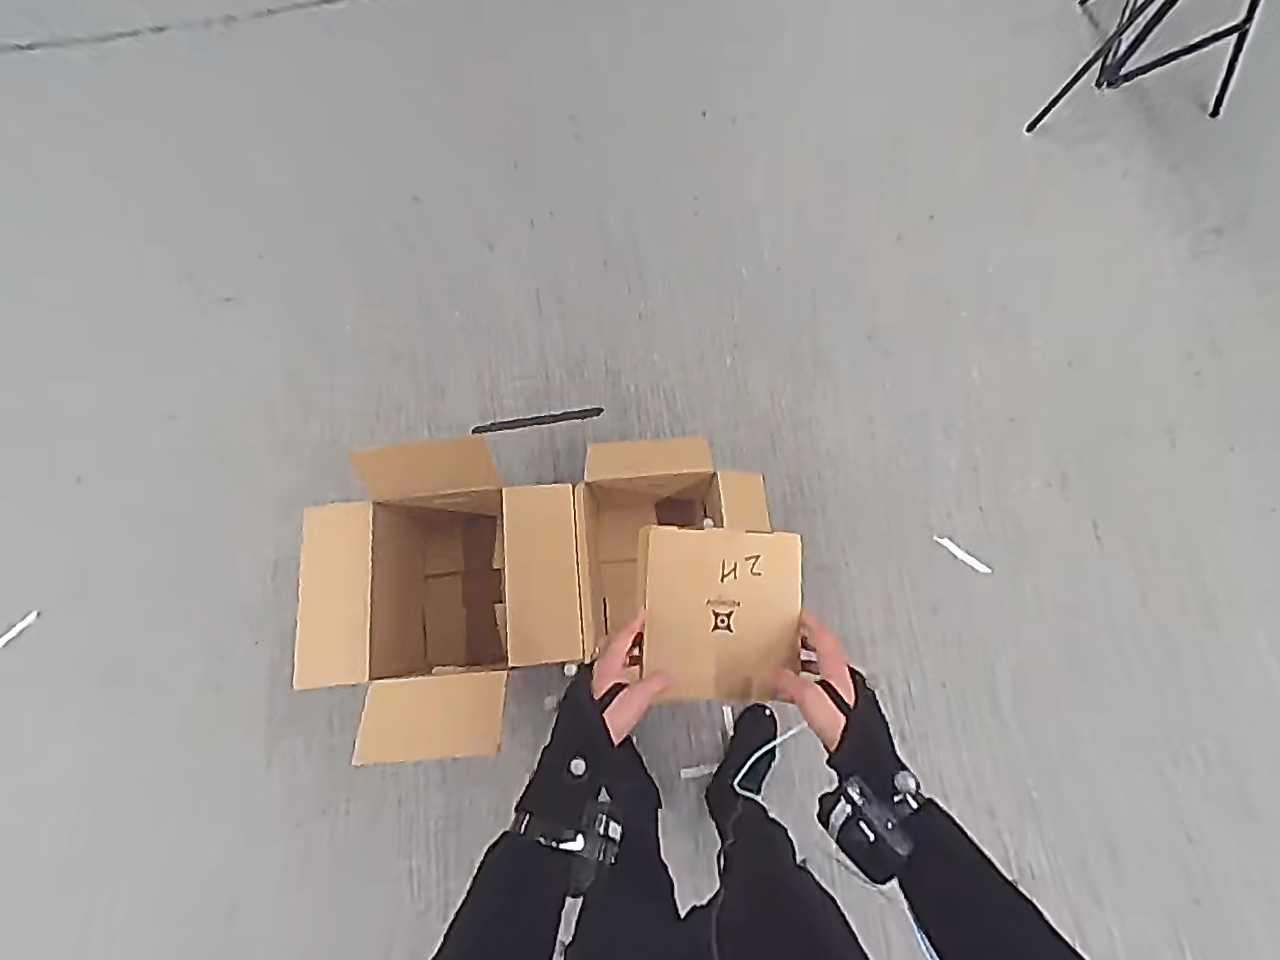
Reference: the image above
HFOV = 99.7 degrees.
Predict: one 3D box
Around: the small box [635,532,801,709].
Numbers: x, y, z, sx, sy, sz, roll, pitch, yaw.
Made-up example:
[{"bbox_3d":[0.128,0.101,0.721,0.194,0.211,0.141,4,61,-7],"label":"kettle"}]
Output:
[{"bbox_3d":[0.082,0.154,0.639,0.168,0.176,0.179,3,82,-3],"label":"small box"}]
